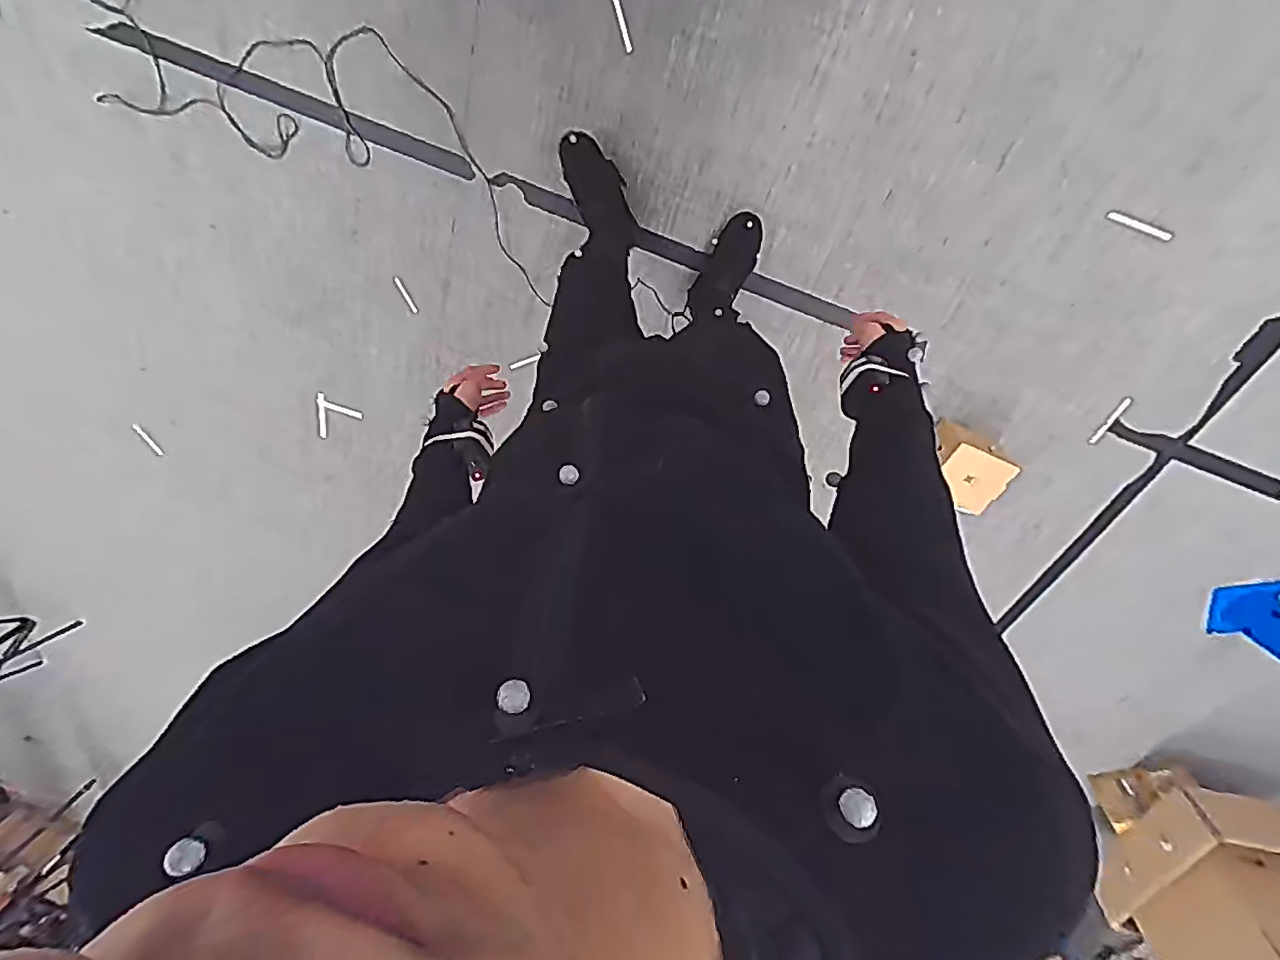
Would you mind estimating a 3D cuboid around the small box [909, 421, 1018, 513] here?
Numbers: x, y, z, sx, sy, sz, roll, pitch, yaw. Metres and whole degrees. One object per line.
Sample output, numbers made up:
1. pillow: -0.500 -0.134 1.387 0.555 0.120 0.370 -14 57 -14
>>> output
1. small box: 0.885 -0.043 1.502 0.179 0.176 0.168 23 121 -4
